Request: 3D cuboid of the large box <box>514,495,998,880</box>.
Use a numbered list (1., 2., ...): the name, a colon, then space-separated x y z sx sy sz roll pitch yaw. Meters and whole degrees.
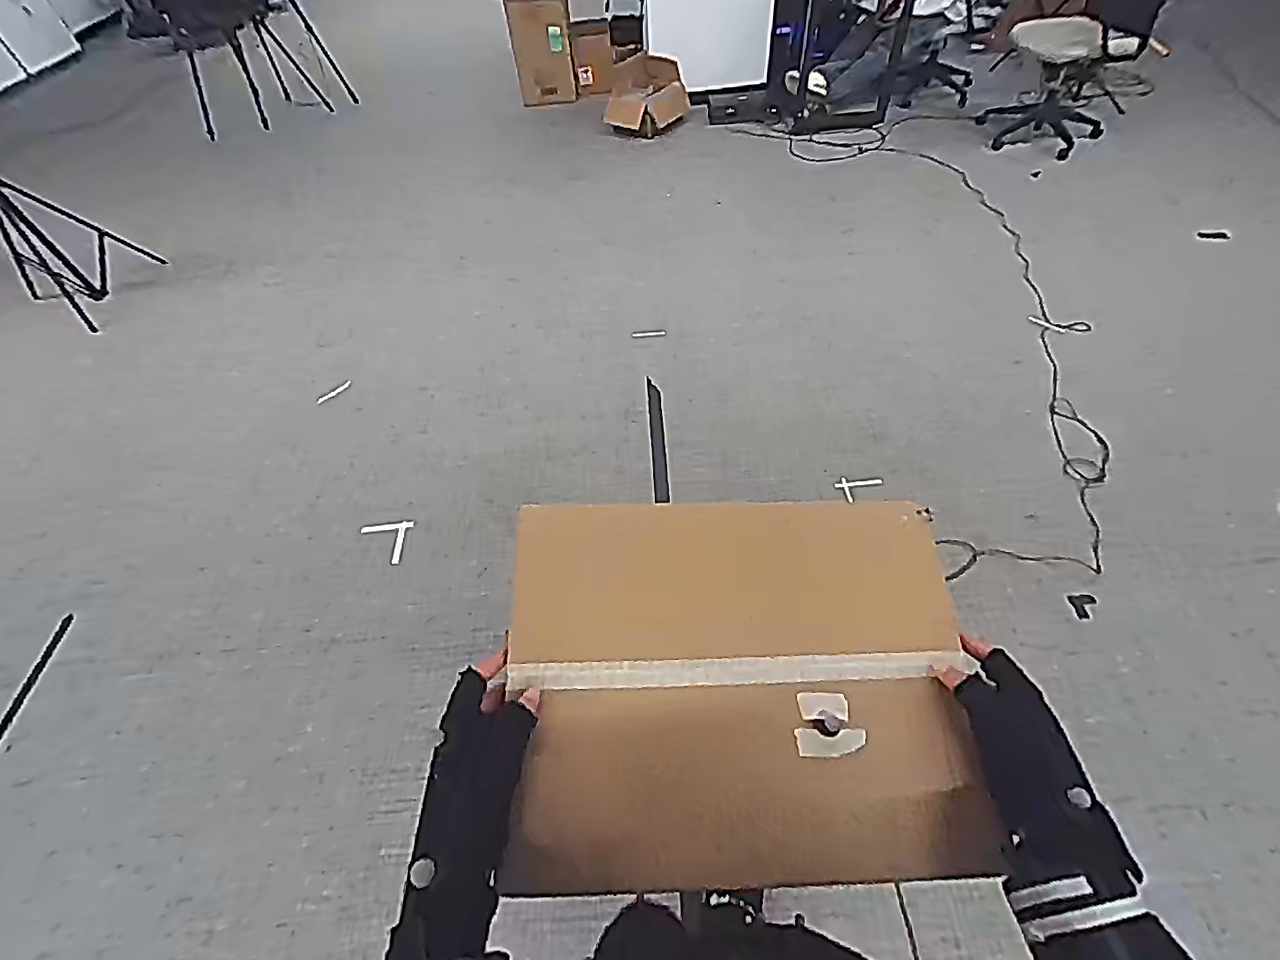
1. large box: 0.082 0.222 0.624 0.408 0.320 0.320 -1 67 -4
